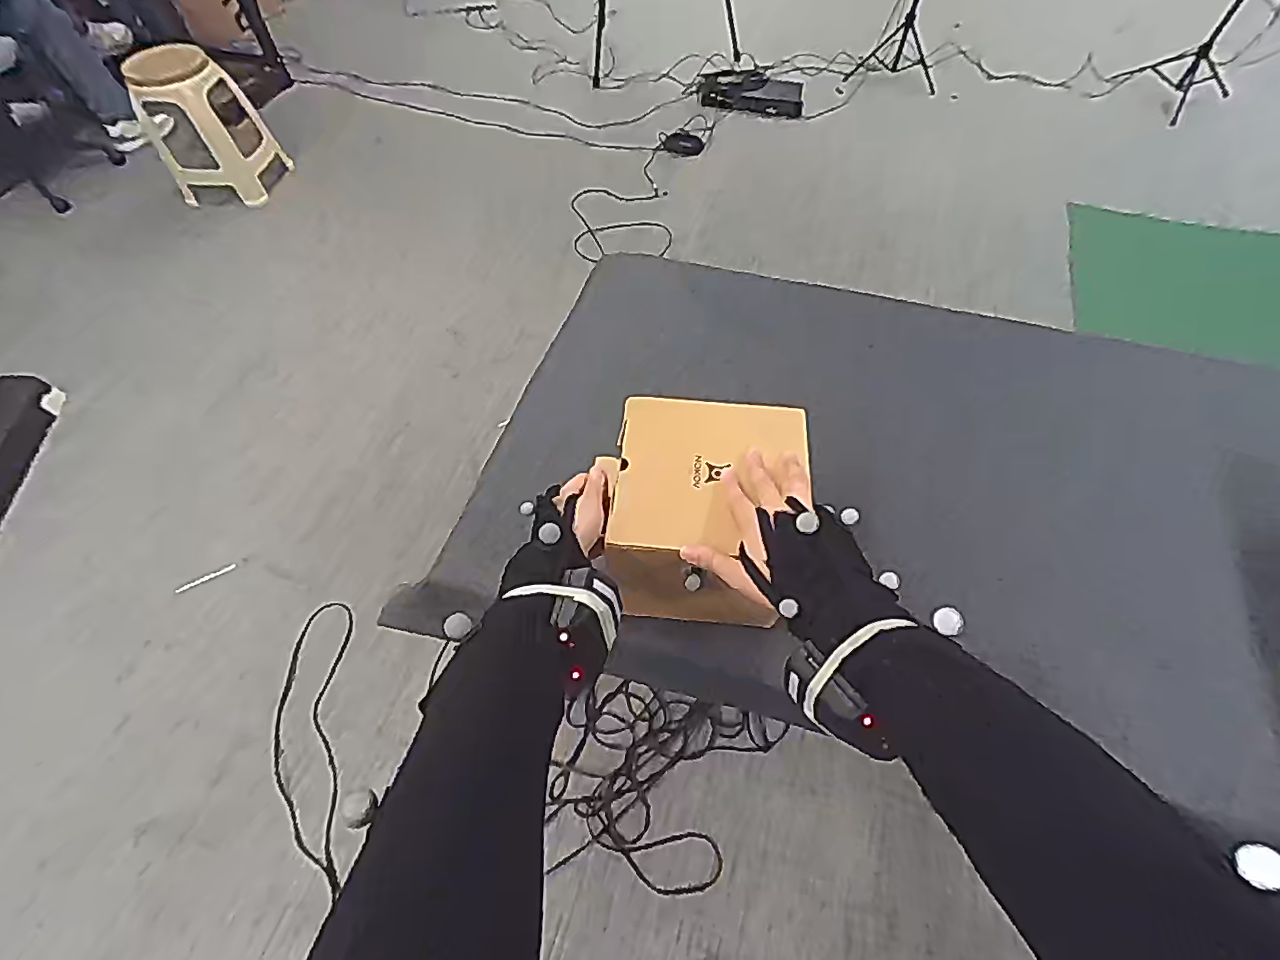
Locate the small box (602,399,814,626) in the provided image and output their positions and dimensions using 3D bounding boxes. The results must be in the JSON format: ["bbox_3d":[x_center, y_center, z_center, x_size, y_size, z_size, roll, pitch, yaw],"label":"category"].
[{"bbox_3d":[0.063,0.040,0.549,0.179,0.176,0.168,5,57,4],"label":"small box"}]
